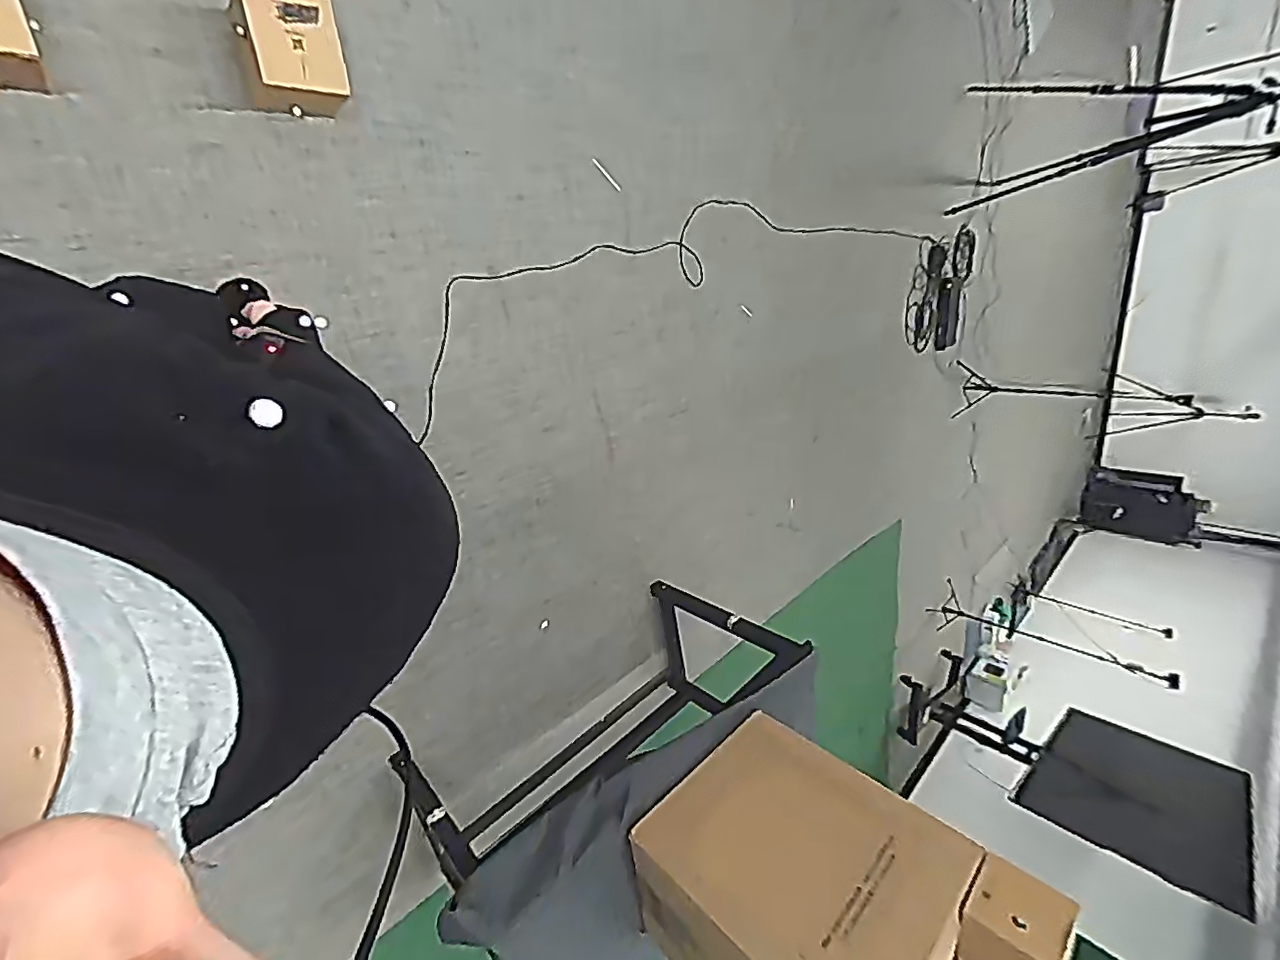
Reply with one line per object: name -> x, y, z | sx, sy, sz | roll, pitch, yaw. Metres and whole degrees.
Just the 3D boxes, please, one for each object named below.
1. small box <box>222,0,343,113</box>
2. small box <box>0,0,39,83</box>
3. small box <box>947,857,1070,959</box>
small box -> -0.755, -0.908, 1.141 | 0.168, 0.176, 0.179 | -20, 115, -36
small box -> -1.113, -0.765, 0.859 | 0.168, 0.176, 0.179 | -21, 115, -37
small box -> 0.760, 0.936, 1.125 | 0.168, 0.176, 0.179 | -23, 117, -37
